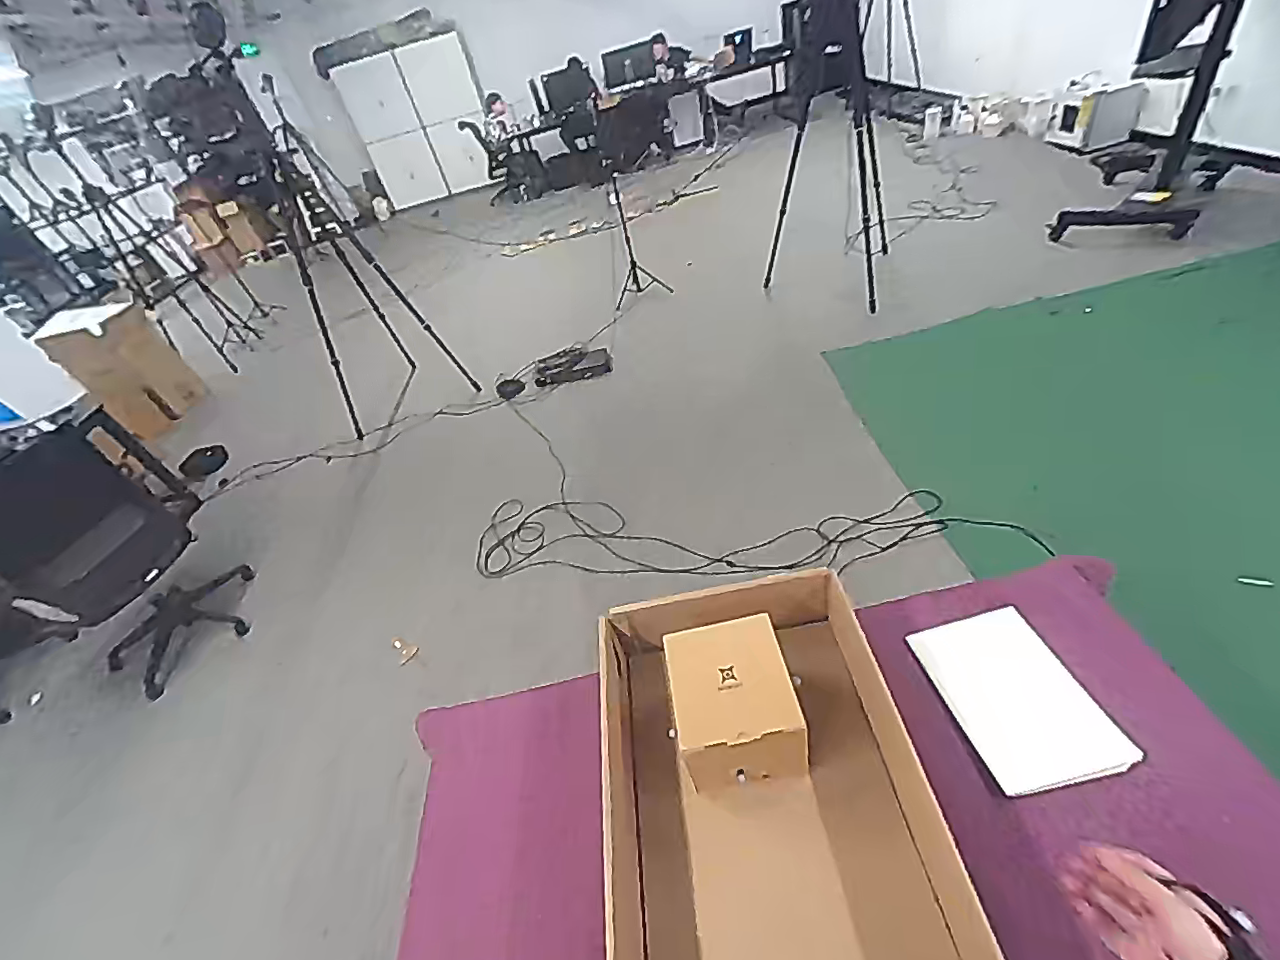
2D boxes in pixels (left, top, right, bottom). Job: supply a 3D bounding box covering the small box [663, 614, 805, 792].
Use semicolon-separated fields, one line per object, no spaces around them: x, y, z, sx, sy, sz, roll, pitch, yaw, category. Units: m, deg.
0.137;0.333;0.808;0.168;0.176;0.179;-14;42;3;small box
